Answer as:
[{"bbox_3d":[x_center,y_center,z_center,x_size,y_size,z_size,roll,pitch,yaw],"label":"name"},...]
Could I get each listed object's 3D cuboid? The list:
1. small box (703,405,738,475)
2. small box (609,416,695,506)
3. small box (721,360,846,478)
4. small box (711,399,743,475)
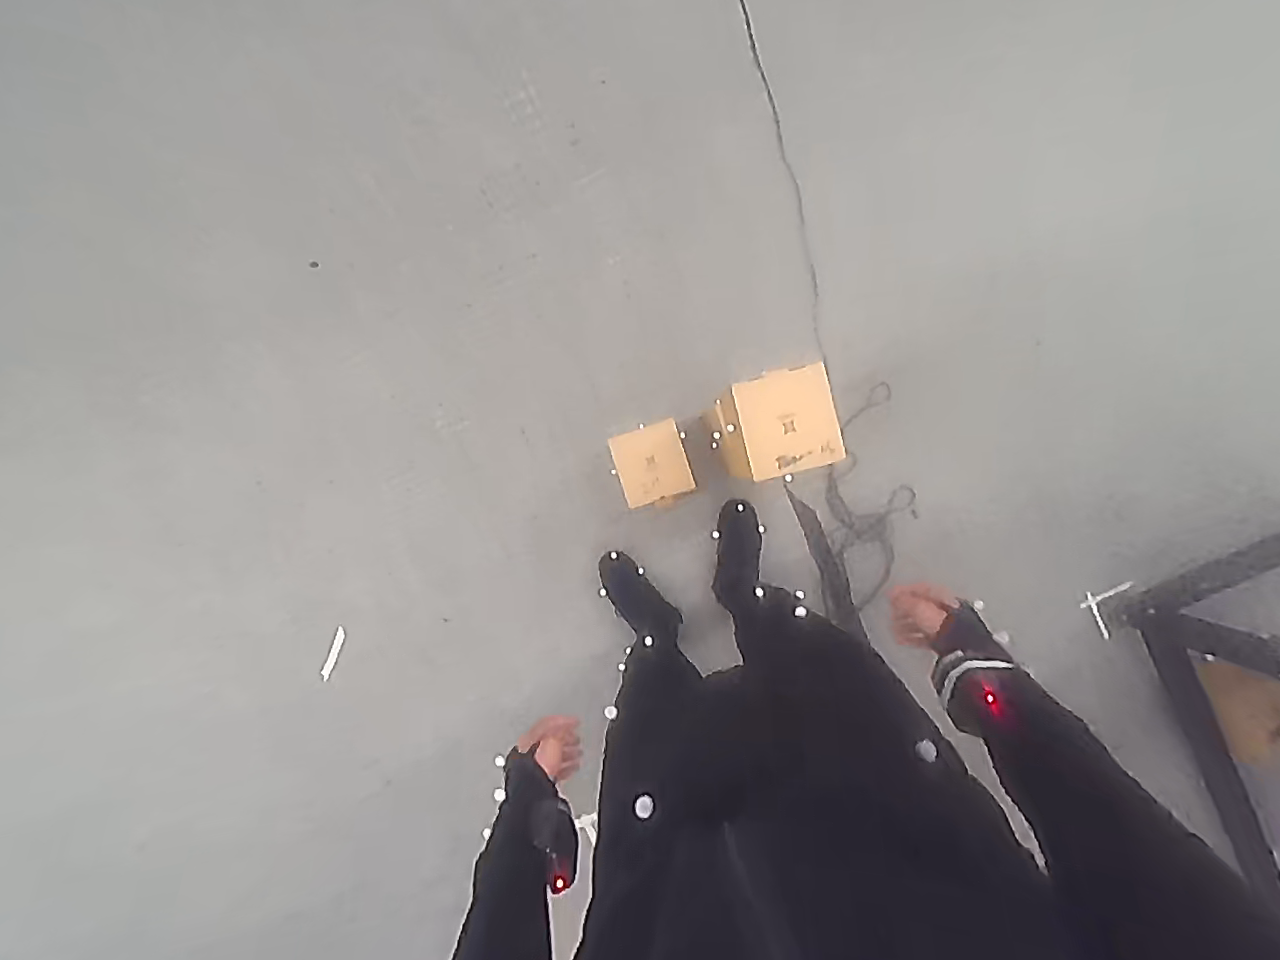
[{"bbox_3d":[0.263,-0.123,1.332,0.168,0.176,0.179,-23,92,3],"label":"small box"},{"bbox_3d":[0.028,-0.046,1.337,0.168,0.176,0.179,-18,92,2],"label":"small box"},{"bbox_3d":[0.256,-0.105,1.006,0.168,0.176,0.179,-14,91,2],"label":"small box"},{"bbox_3d":[0.261,-0.115,1.170,0.179,0.176,0.168,-22,92,2],"label":"small box"}]
